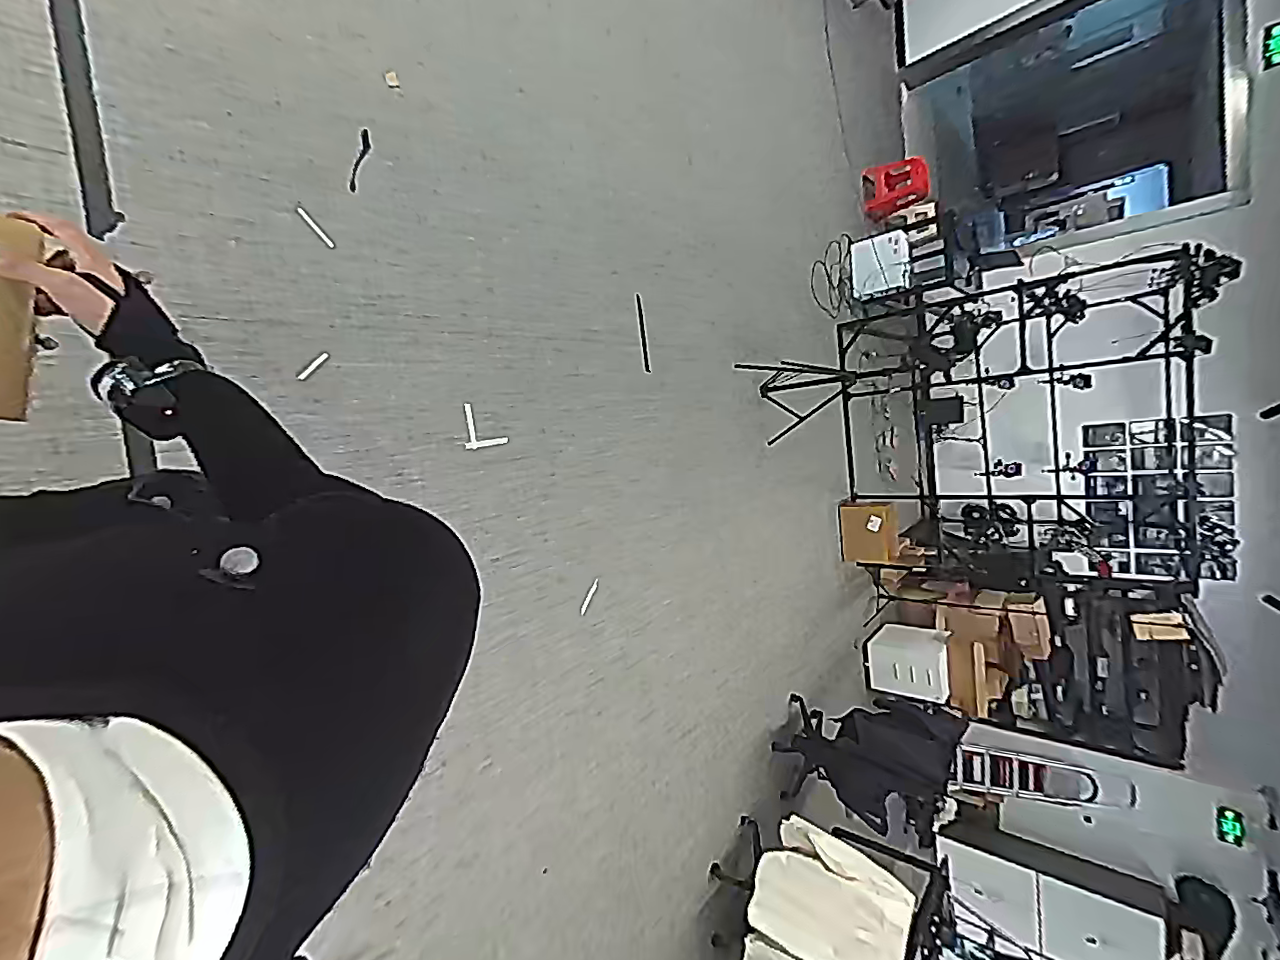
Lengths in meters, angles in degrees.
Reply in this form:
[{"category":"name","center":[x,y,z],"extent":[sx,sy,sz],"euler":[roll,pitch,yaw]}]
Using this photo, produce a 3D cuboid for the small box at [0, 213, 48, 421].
[{"category":"small box","center":[-0.650,-0.151,0.474],"extent":[0.168,0.176,0.179],"euler":[6,89,-46]}]
